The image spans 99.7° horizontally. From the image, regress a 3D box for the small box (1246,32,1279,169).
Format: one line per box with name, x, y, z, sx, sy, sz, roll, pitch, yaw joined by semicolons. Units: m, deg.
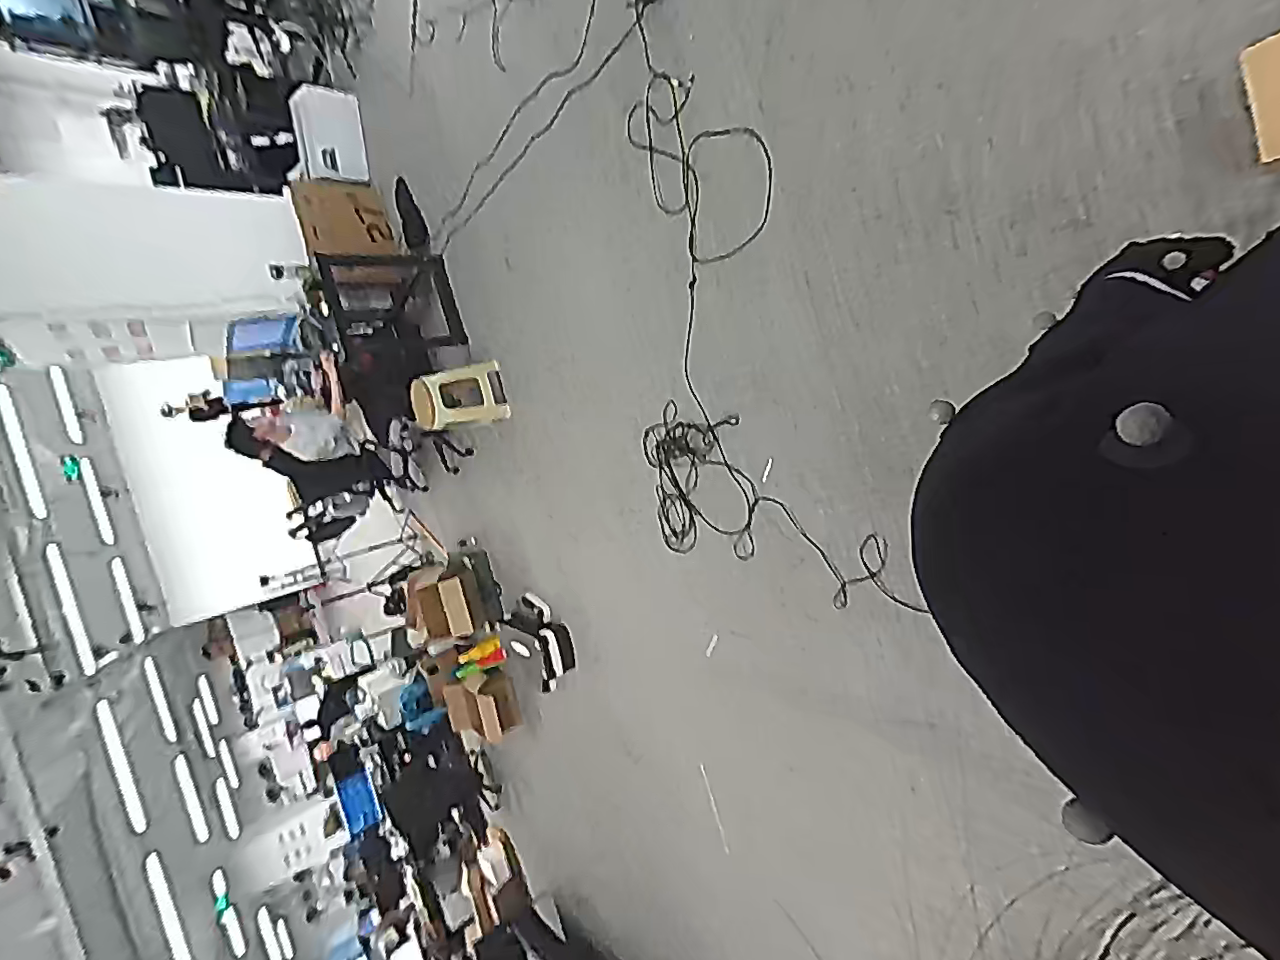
small box;1.056;-0.603;0.818;0.168;0.176;0.179;-11;95;52
